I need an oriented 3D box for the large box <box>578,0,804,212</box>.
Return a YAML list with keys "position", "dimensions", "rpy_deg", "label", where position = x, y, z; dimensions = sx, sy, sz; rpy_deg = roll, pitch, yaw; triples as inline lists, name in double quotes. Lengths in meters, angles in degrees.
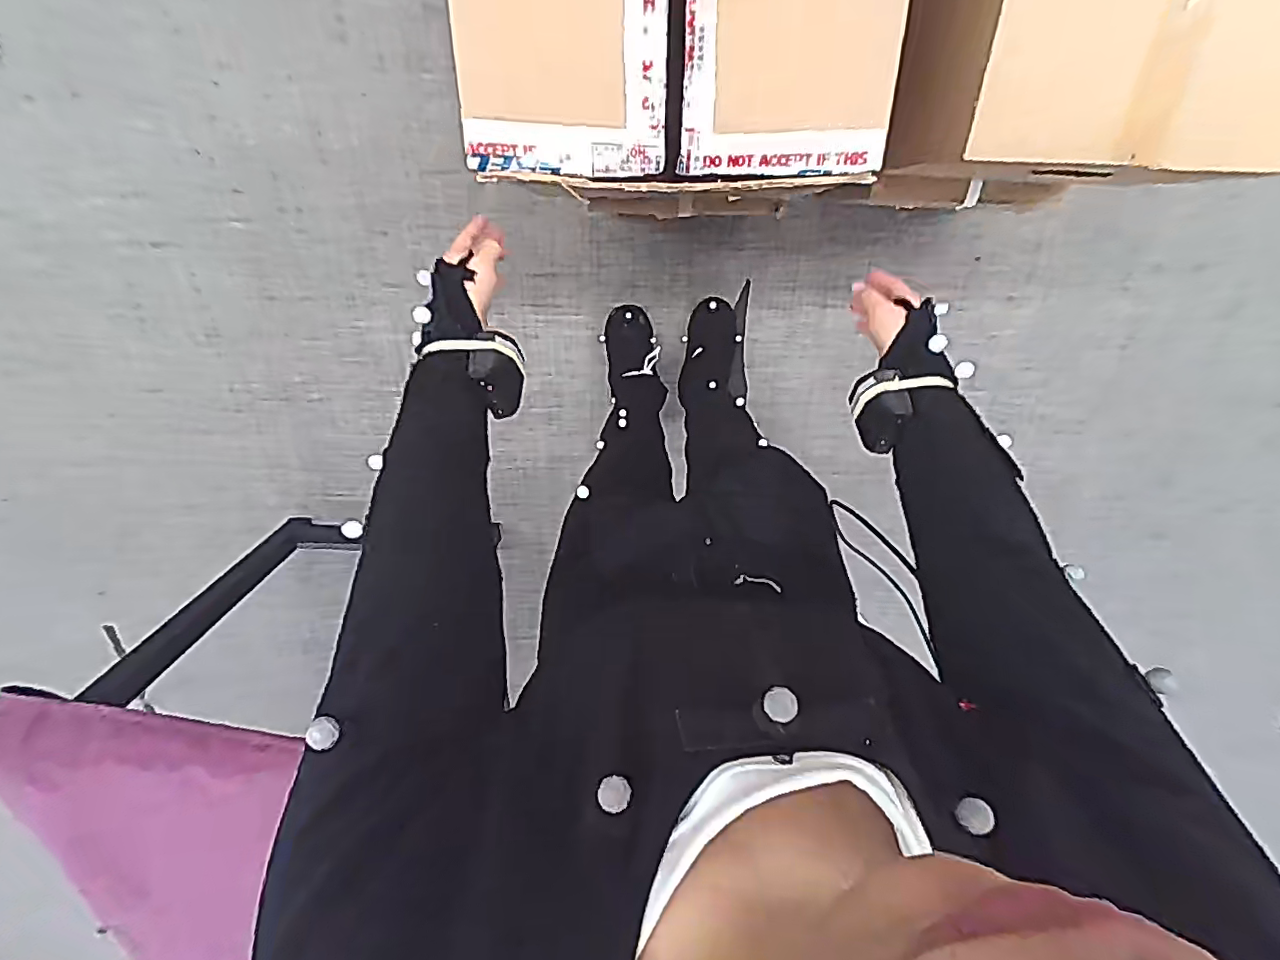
- position: [0.074, -0.672, 0.892]
  dimensions: [0.320, 0.320, 0.408]
  rpy_deg: [1, 117, 2]
  label: "large box"
